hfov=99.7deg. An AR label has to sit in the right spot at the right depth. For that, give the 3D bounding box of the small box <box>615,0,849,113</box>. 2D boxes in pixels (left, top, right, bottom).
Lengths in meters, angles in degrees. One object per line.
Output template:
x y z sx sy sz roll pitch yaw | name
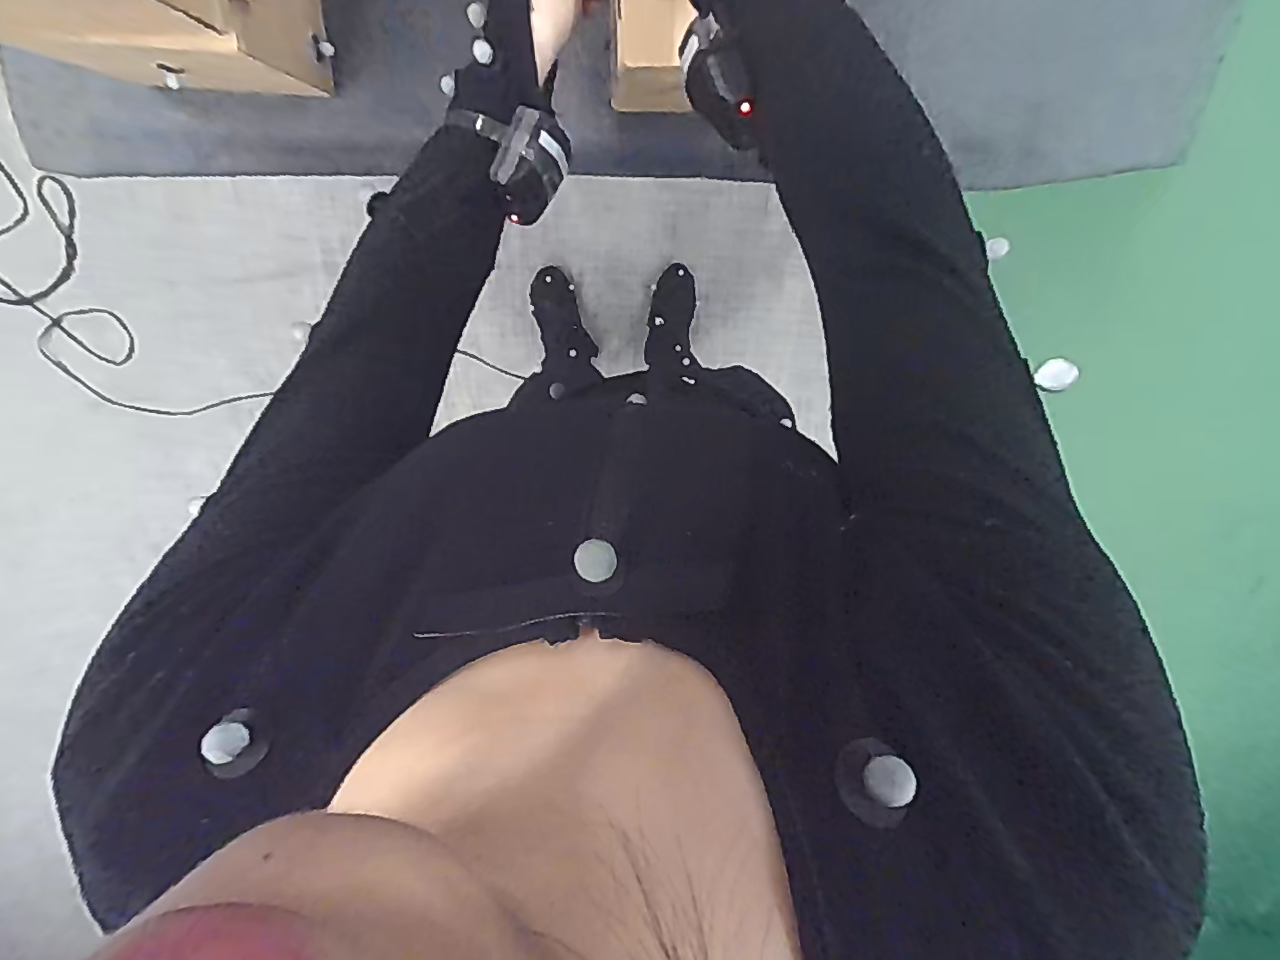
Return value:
0.067 -0.424 0.459 0.179 0.176 0.168 -1 115 -3 | small box

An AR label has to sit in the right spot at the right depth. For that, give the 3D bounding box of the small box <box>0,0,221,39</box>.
-0.374 -0.348 0.272 0.179 0.176 0.168 -4 116 -4 | small box

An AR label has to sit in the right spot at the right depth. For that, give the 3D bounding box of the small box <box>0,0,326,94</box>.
-0.372 -0.417 0.420 0.179 0.176 0.168 0 116 -5 | small box
